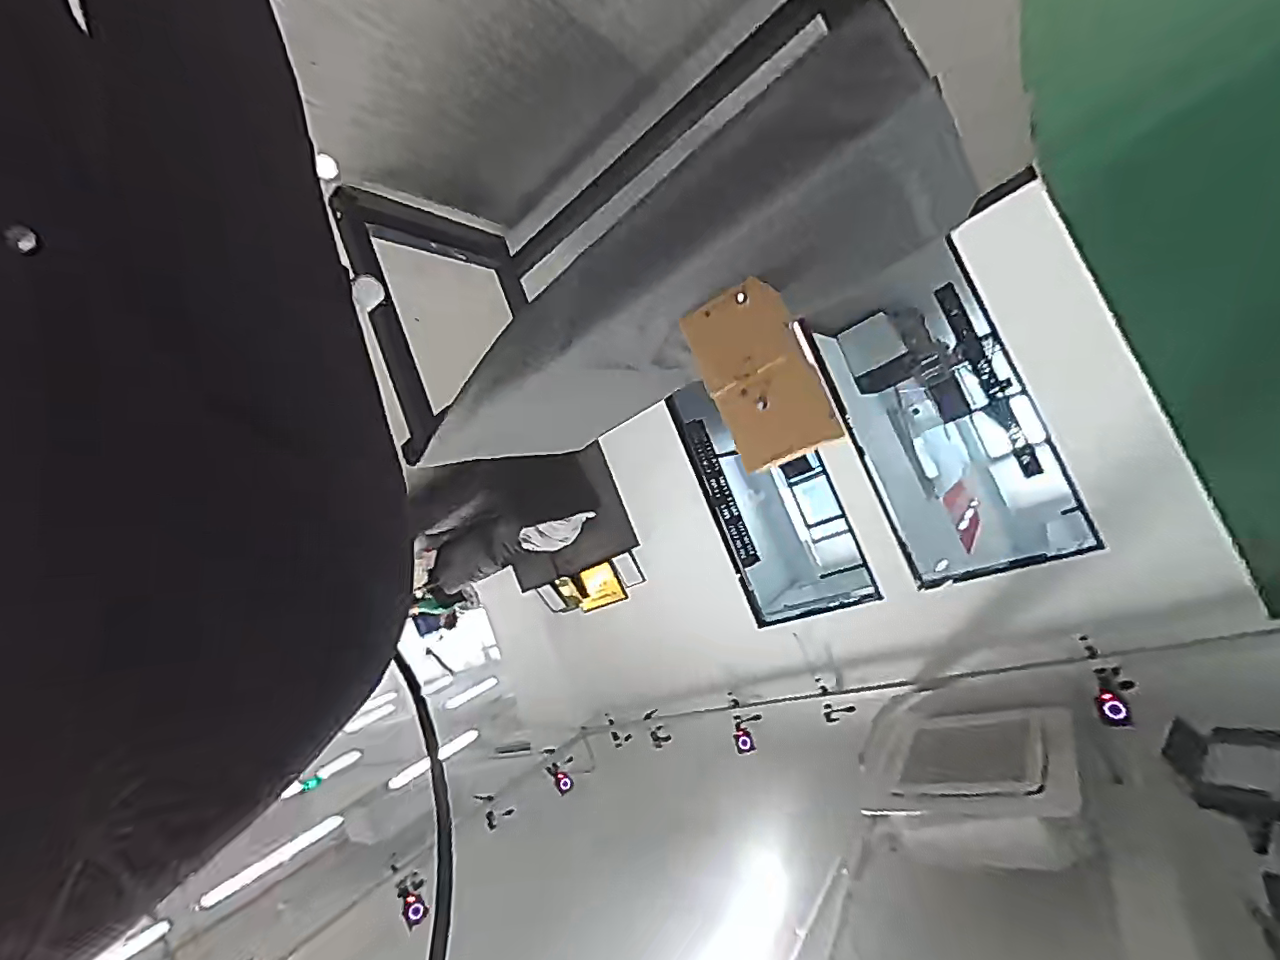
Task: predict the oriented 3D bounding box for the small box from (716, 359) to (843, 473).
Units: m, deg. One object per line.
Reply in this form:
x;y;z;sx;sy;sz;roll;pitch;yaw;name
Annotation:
0.280;-0.128;1.080;0.168;0.176;0.179;-26;173;32;small box

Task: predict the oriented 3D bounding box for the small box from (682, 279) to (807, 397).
0.208;-0.278;1.085;0.168;0.176;0.179;-25;174;30;small box
